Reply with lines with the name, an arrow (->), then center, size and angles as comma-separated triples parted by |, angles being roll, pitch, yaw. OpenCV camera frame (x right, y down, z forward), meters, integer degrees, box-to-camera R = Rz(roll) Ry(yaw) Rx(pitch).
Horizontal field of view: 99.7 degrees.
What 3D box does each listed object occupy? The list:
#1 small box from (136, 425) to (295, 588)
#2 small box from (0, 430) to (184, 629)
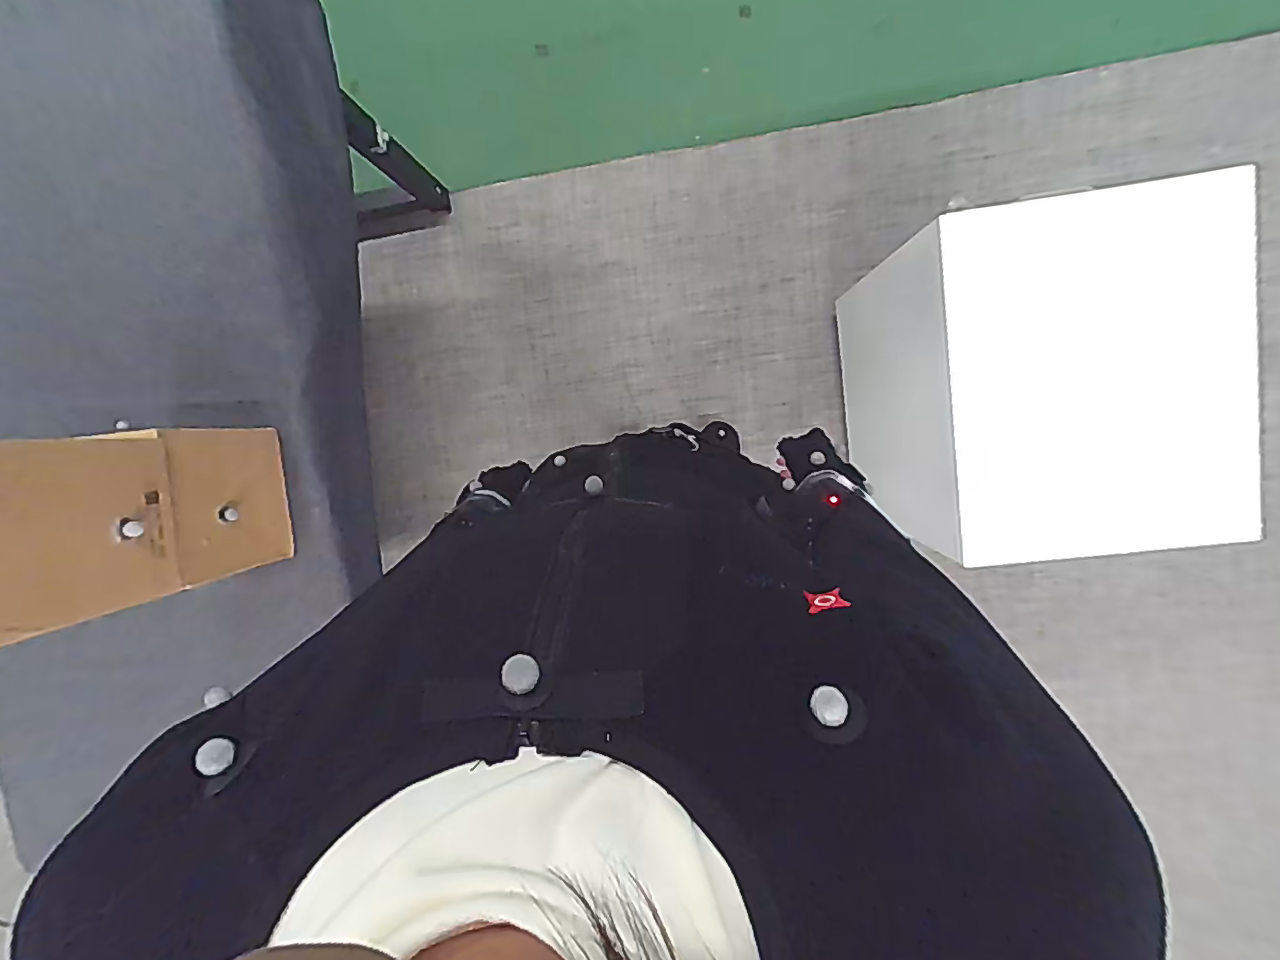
small box -> -0.568, 0.026, 0.673 | 0.168, 0.176, 0.179 | -4, 96, 8
small box -> -0.592, 0.042, 0.511 | 0.179, 0.176, 0.168 | -5, 95, 9
